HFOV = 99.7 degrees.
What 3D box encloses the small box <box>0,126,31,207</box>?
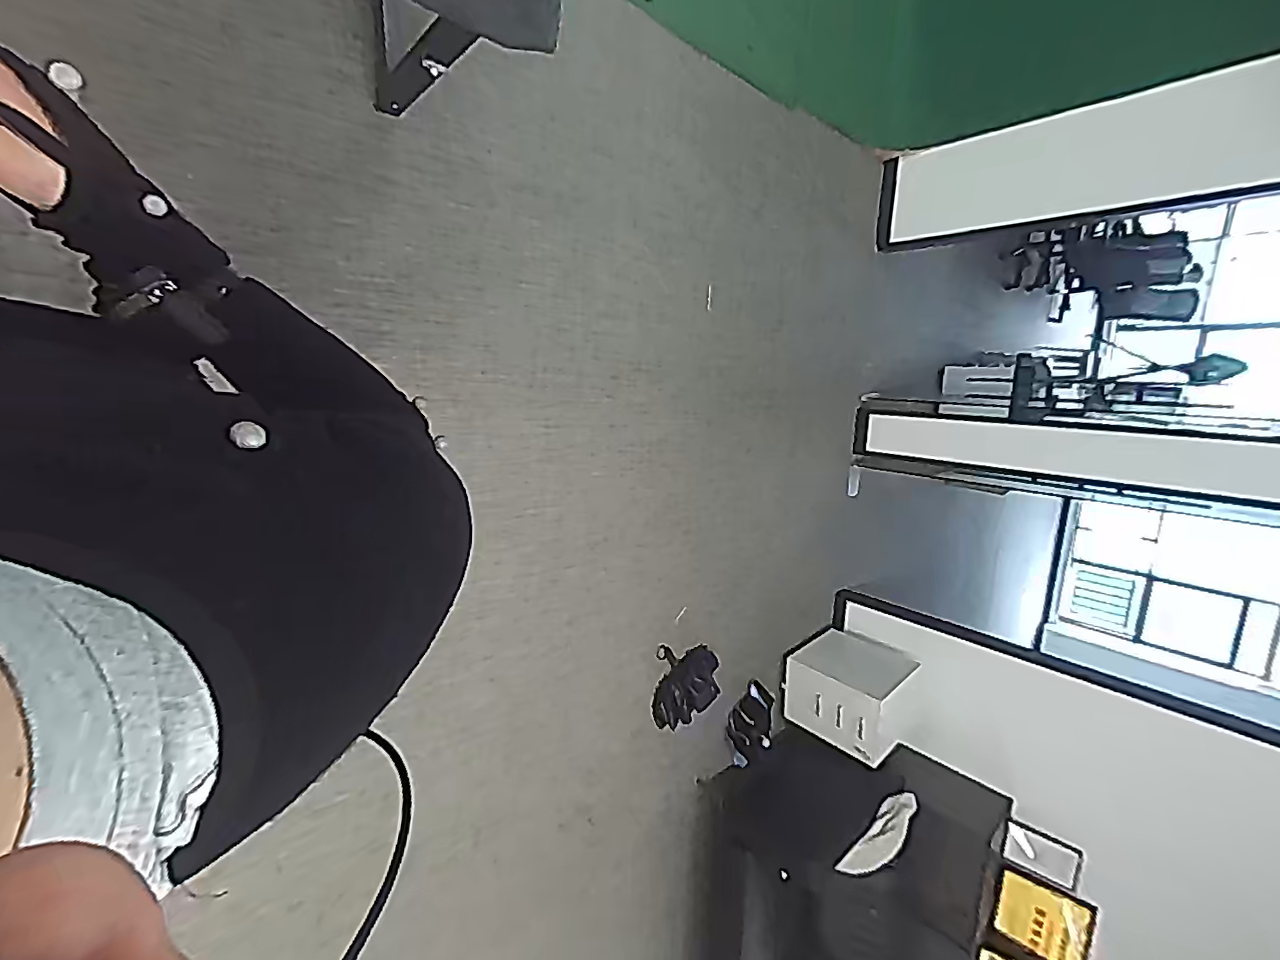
[{"bbox_3d":[-0.443,-0.227,0.229,0.168,0.176,0.179,-33,108,-29],"label":"small box"}]
